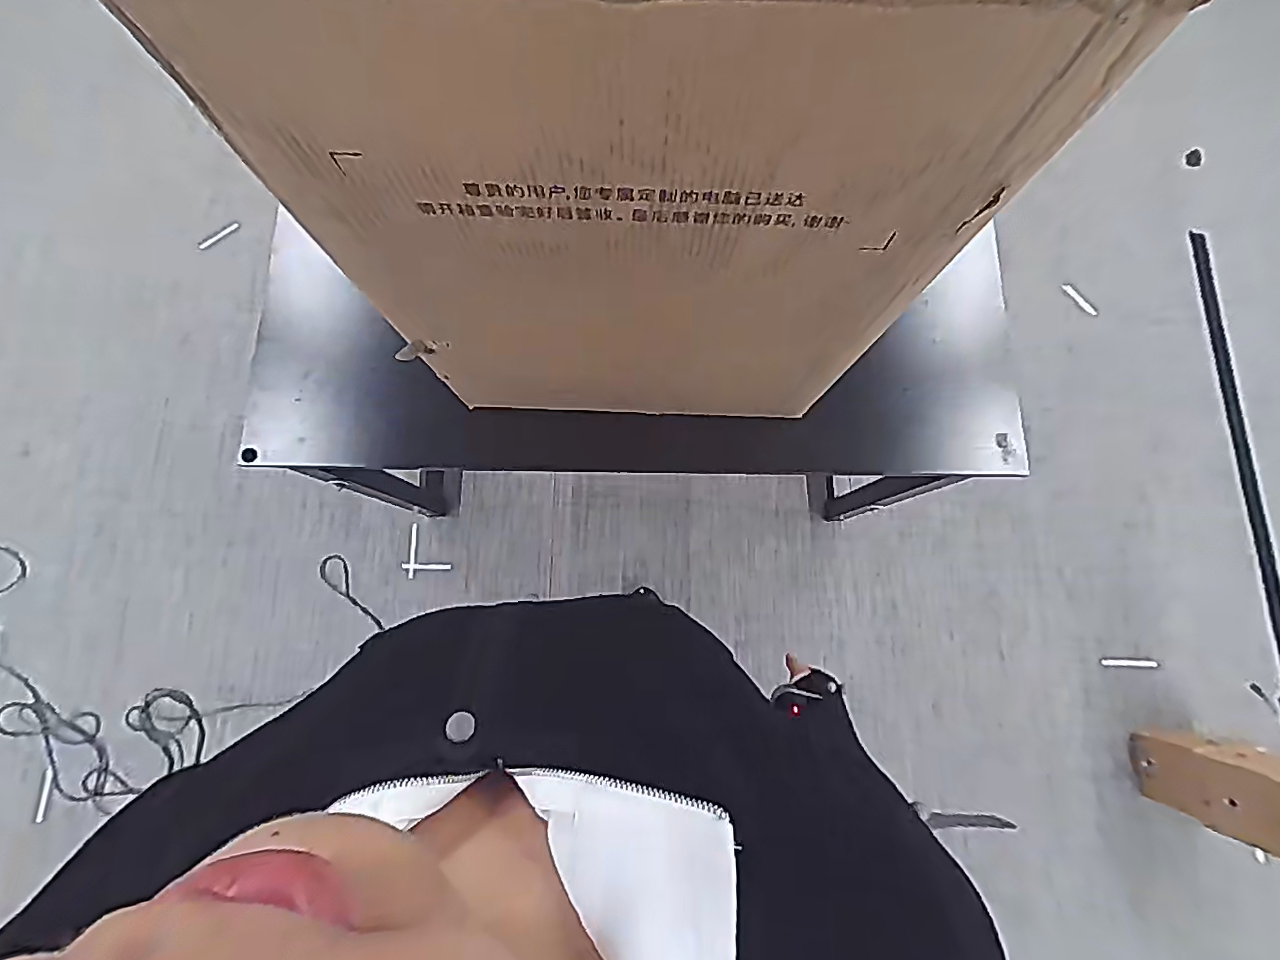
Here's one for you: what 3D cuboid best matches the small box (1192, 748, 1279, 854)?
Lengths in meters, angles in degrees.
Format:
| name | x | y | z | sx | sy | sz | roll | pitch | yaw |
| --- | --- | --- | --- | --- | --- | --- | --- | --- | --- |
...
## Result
| name | x | y | z | sx | sy | sz | roll | pitch | yaw |
| --- | --- | --- | --- | --- | --- | --- | --- | --- | --- |
| small box | 1.385 | 0.704 | 1.195 | 0.179 | 0.176 | 0.168 | 0 | 78 | 0 |

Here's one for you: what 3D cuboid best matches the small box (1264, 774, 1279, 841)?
| name | x | y | z | sx | sy | sz | roll | pitch | yaw |
| --- | --- | --- | --- | --- | --- | --- | --- | --- | --- |
| small box | 1.386 | 0.669 | 1.032 | 0.179 | 0.176 | 0.168 | -5 | 78 | -2 |

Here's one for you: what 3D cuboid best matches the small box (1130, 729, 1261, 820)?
| name | x | y | z | sx | sy | sz | roll | pitch | yaw |
| --- | --- | --- | --- | --- | --- | --- | --- | --- | --- |
| small box | 1.400 | 0.732 | 1.356 | 0.179 | 0.176 | 0.168 | -1 | 78 | 0 |
